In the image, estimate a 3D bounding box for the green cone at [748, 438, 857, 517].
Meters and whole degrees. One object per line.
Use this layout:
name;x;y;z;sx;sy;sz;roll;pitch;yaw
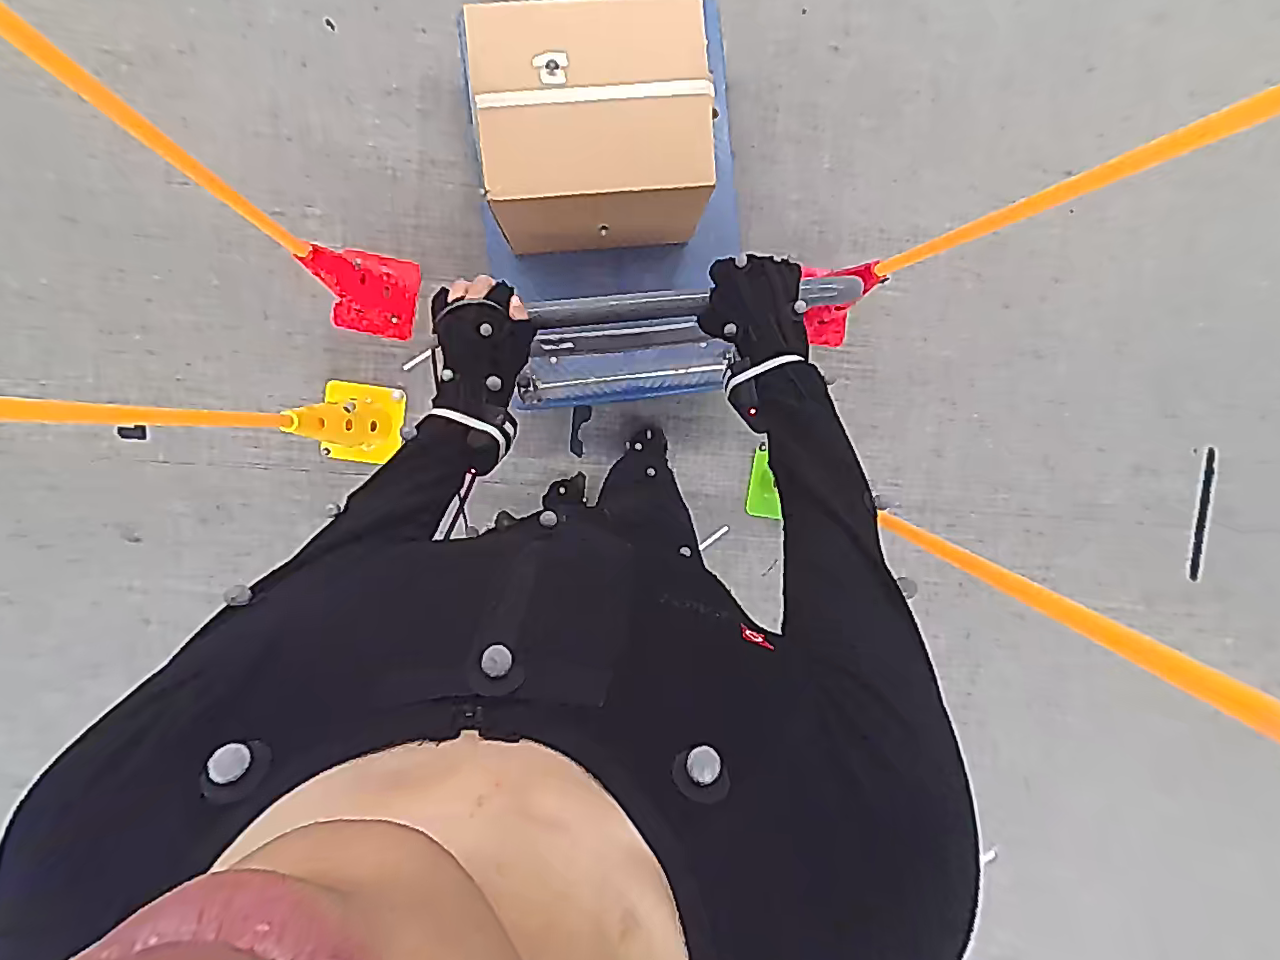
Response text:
green cone;0.419;0.012;1.319;0.202;0.368;0.200;8;95;-6

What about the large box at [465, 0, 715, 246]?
large box;-0.087;-0.679;1.070;0.408;0.320;0.320;-6;97;-3

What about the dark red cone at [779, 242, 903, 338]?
dark red cone;0.482;-0.466;1.259;0.201;0.394;0.202;4;96;-6

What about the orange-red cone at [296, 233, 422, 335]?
orange-red cone;-0.651;-0.468;1.198;0.198;0.360;0.199;12;93;-6
